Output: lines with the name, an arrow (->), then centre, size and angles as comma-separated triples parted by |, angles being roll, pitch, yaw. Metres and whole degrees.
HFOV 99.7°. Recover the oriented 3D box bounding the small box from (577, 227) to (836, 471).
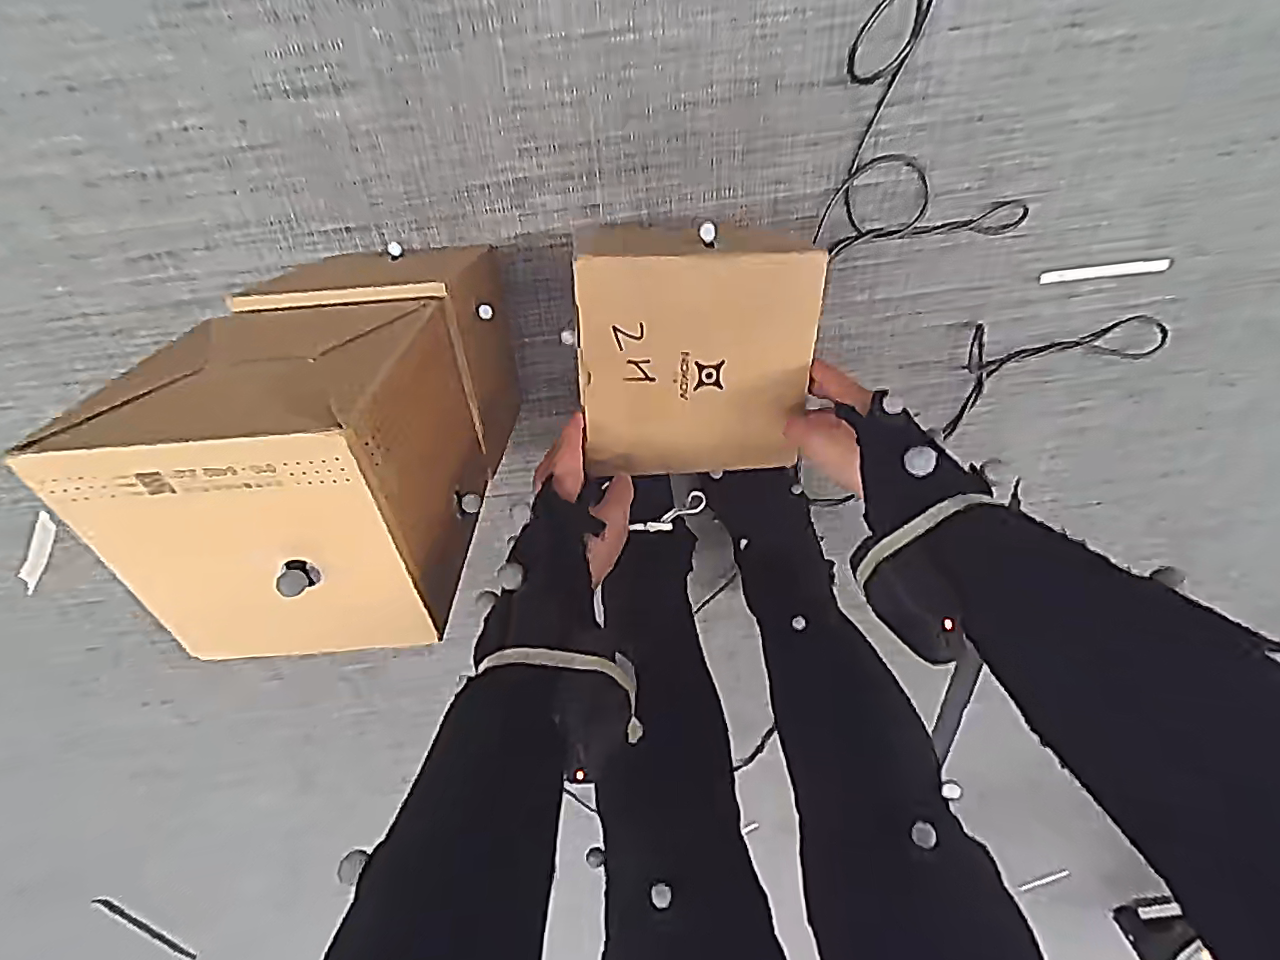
small box -> 0.038, -0.121, 0.463 | 0.179, 0.176, 0.168 | -2, 119, -5
